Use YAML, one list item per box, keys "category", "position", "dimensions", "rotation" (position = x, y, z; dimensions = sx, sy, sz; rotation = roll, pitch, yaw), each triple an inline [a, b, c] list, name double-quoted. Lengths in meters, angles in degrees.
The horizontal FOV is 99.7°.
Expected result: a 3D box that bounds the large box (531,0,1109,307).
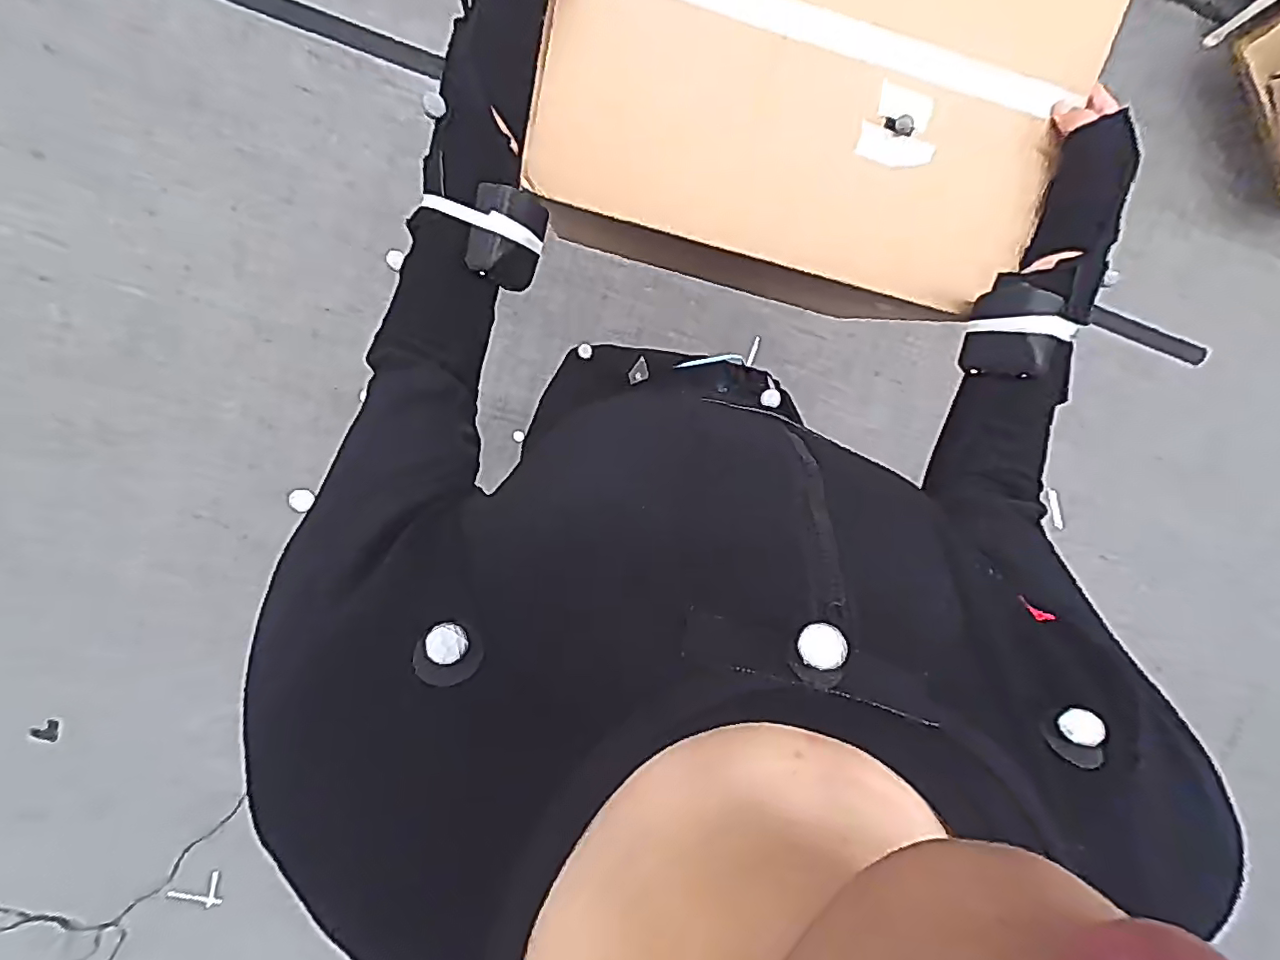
- category: "large box"
  position: [0.128, -0.376, 0.542]
  dimensions: [0.408, 0.320, 0.320]
  rotation: [12, 108, -8]
